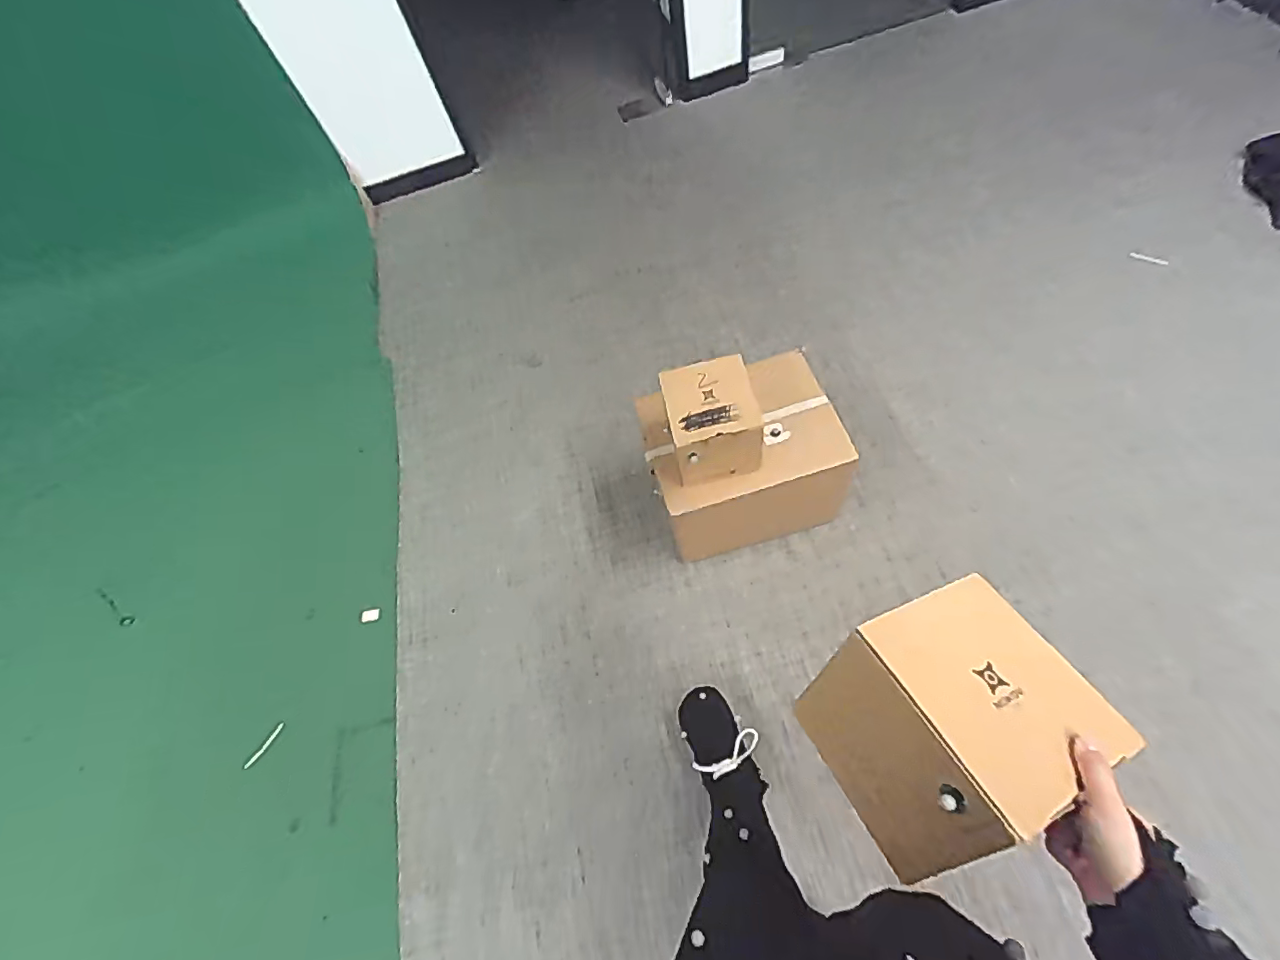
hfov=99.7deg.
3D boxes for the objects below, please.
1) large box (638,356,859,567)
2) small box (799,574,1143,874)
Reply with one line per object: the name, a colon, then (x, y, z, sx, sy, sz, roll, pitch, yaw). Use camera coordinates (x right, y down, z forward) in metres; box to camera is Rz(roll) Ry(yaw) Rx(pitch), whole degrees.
large box: (0.241, -0.032, 1.299, 0.408, 0.320, 0.320, -17, 61, 0)
small box: (0.280, 0.222, 0.503, 0.168, 0.176, 0.179, -14, 51, -23)
